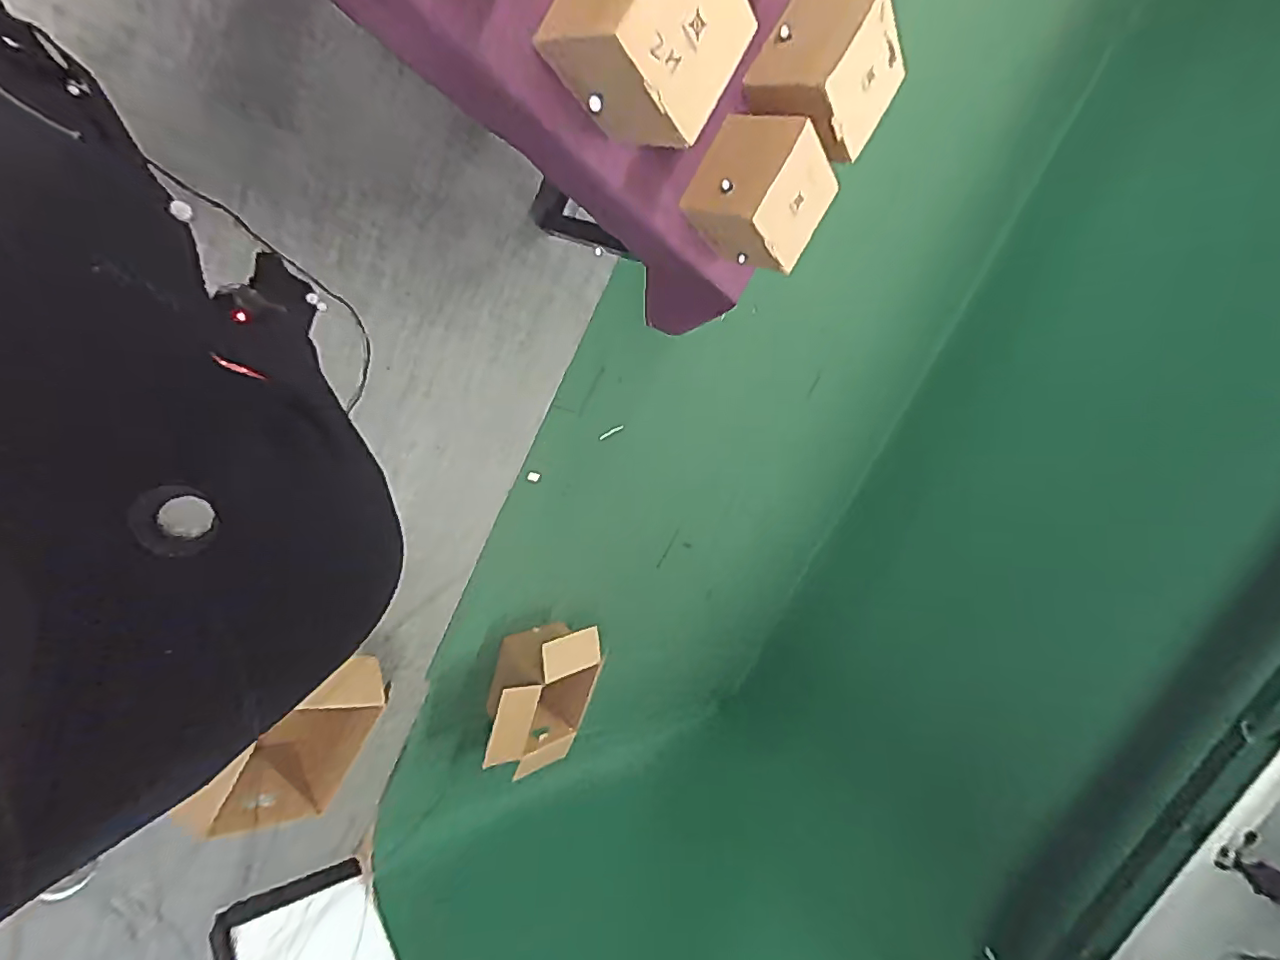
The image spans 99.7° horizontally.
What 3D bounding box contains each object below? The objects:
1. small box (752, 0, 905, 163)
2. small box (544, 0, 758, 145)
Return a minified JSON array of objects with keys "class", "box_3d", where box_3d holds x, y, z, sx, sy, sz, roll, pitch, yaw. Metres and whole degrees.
[{"class":"small box","box_3d":[0.311,-0.678,0.913,0.168,0.176,0.179,27,97,-53]},{"class":"small box","box_3d":[0.011,-0.561,0.676,0.168,0.176,0.179,25,98,-52]}]
